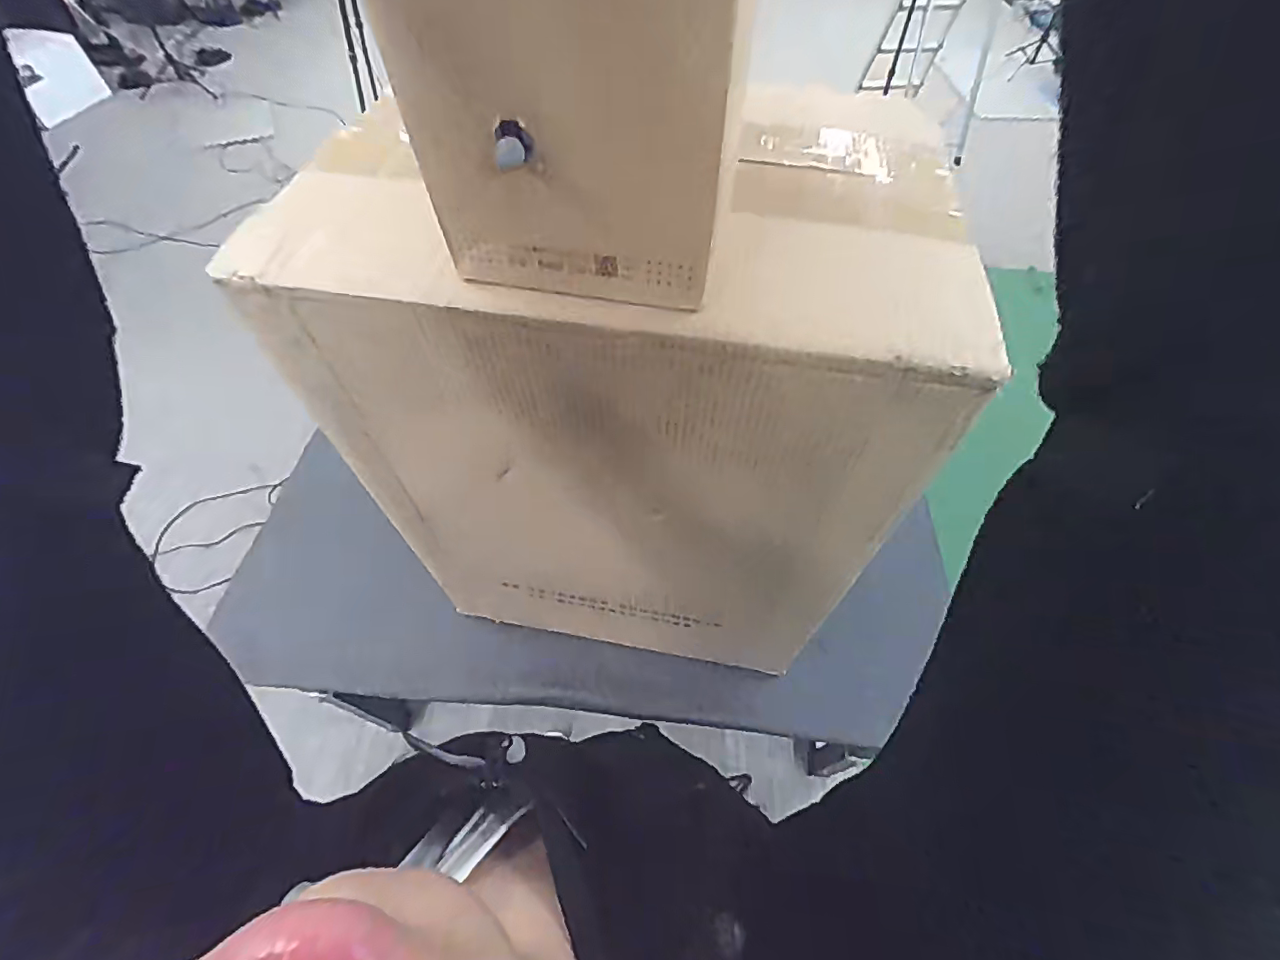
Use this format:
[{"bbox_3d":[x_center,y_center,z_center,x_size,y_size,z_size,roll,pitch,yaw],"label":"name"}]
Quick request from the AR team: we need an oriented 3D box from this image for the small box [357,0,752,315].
[{"bbox_3d":[-0.025,-0.227,0.330,0.168,0.176,0.179,10,58,6],"label":"small box"}]
